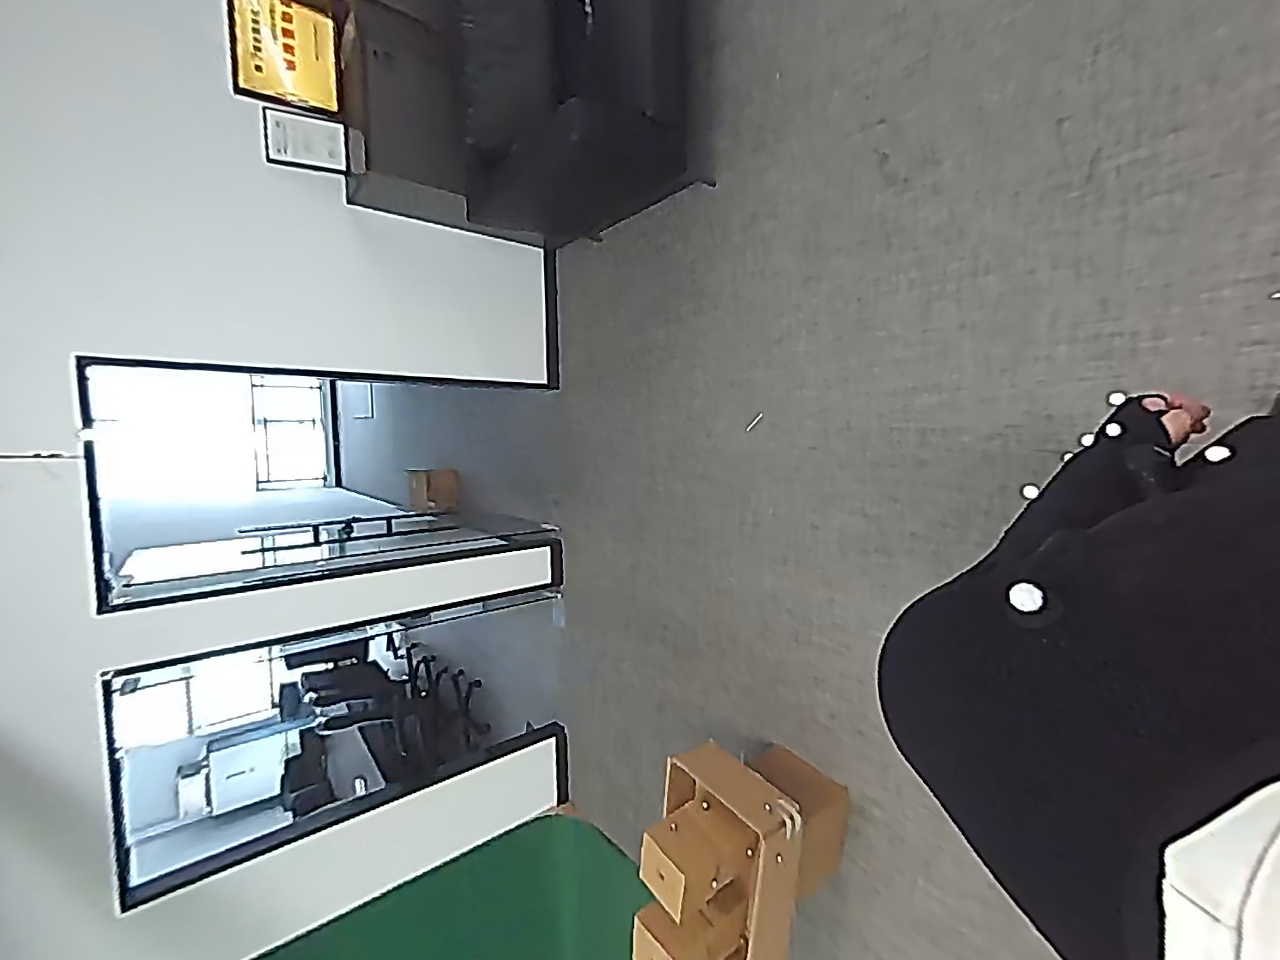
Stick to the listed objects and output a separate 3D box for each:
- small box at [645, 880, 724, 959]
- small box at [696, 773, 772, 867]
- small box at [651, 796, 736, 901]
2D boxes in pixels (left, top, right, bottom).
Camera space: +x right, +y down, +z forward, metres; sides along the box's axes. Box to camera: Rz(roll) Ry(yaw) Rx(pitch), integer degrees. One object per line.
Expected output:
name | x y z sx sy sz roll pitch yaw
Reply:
small box | 0.136 1.365 1.669 0.179 0.176 0.168 13 105 51
small box | 0.287 1.065 1.709 0.179 0.176 0.168 24 113 49
small box | 0.159 1.080 1.610 0.179 0.176 0.168 22 111 49
